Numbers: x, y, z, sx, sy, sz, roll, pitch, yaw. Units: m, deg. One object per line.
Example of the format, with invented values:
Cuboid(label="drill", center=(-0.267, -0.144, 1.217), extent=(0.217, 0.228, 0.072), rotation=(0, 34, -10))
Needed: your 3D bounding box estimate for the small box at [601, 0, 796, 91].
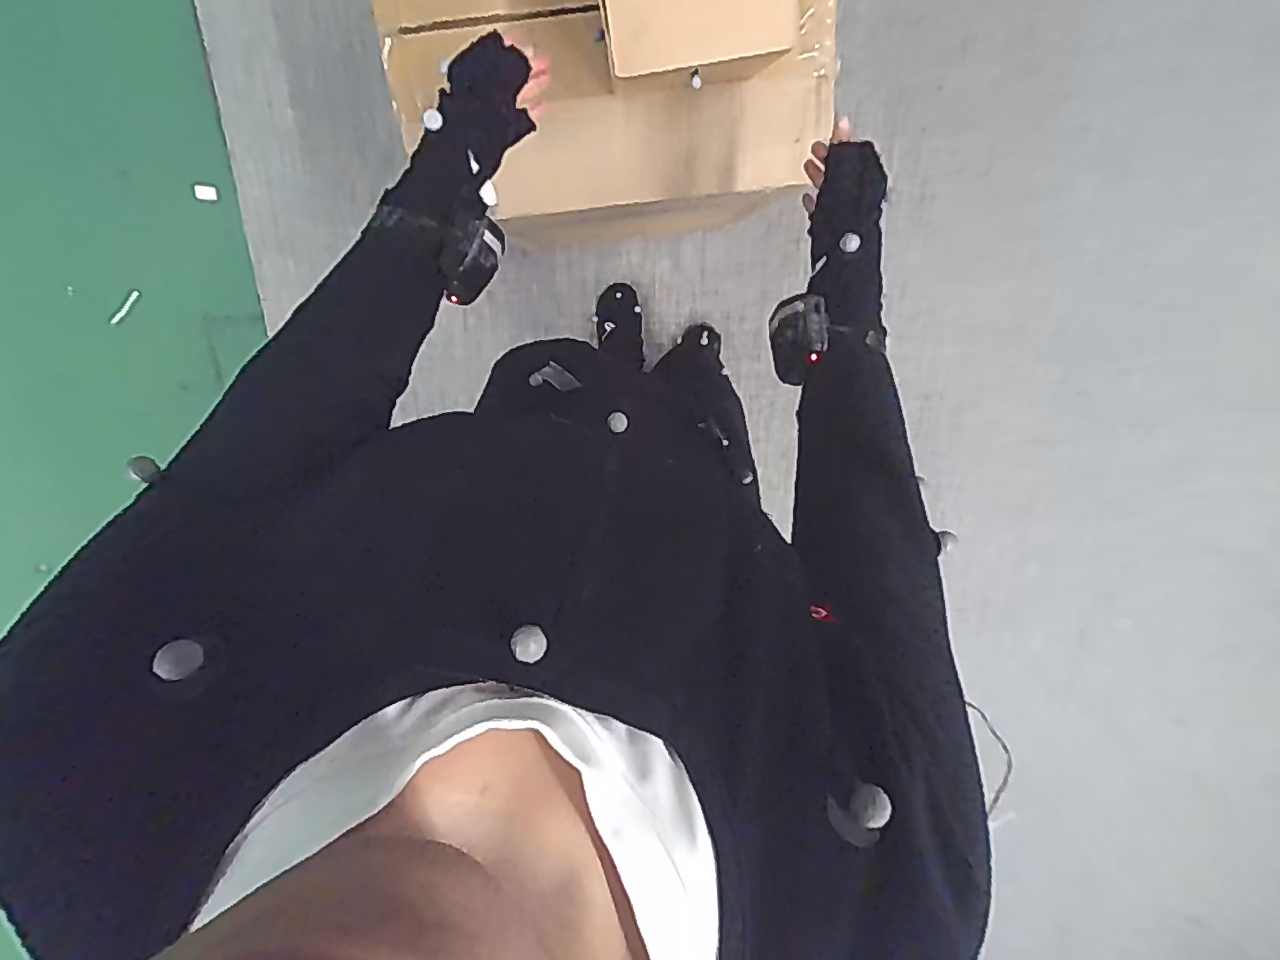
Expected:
Cuboid(label="small box", center=(0.046, -0.505, 0.536), extent=(0.179, 0.176, 0.168), rotation=(-9, 121, 2))
